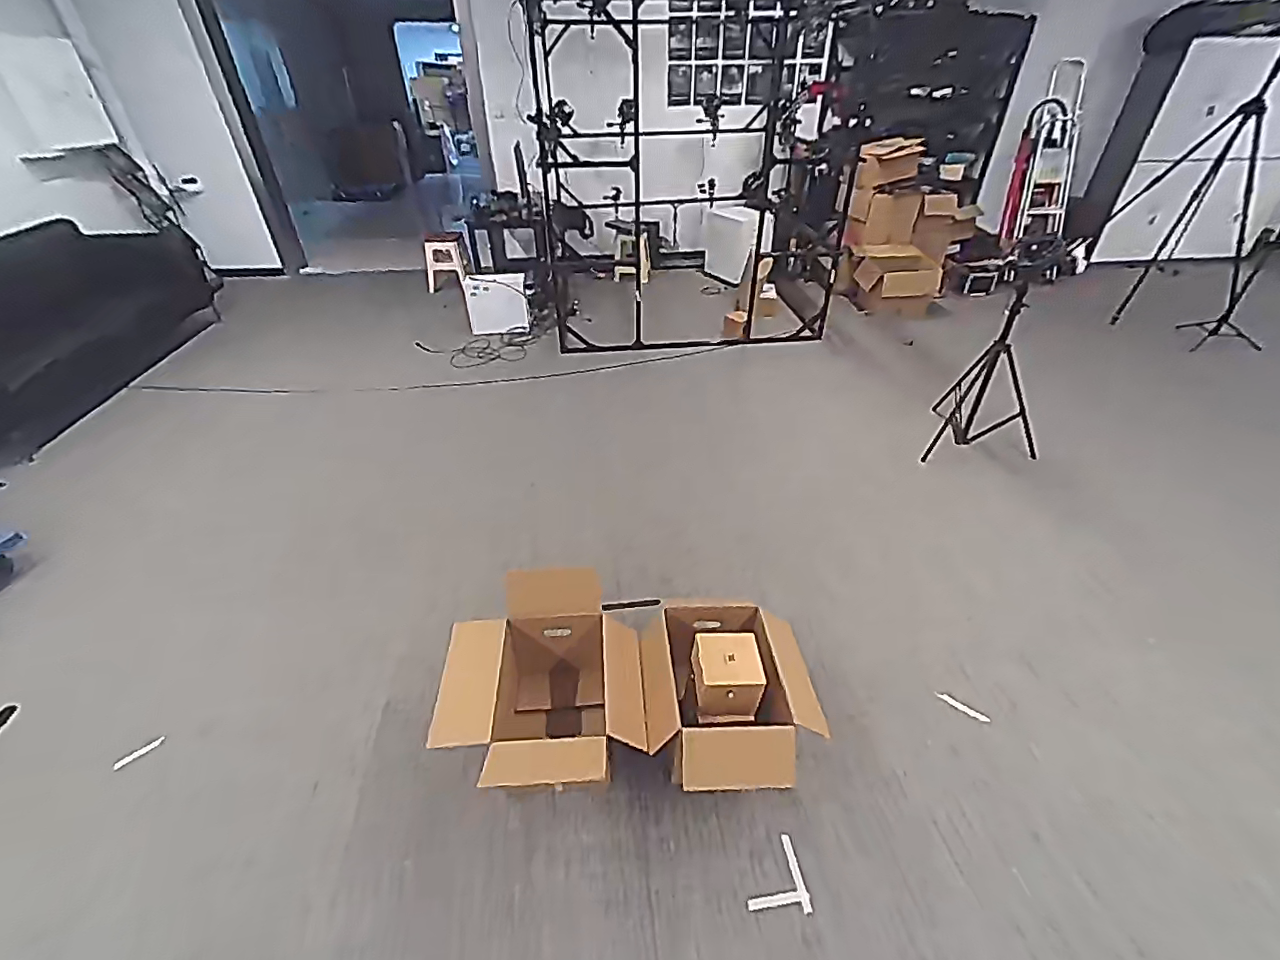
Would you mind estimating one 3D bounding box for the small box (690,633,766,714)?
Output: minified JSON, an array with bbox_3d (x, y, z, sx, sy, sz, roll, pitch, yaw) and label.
[{"bbox_3d":[0.249,0.562,1.569,0.179,0.176,0.168,0,39,-4],"label":"small box"}]
